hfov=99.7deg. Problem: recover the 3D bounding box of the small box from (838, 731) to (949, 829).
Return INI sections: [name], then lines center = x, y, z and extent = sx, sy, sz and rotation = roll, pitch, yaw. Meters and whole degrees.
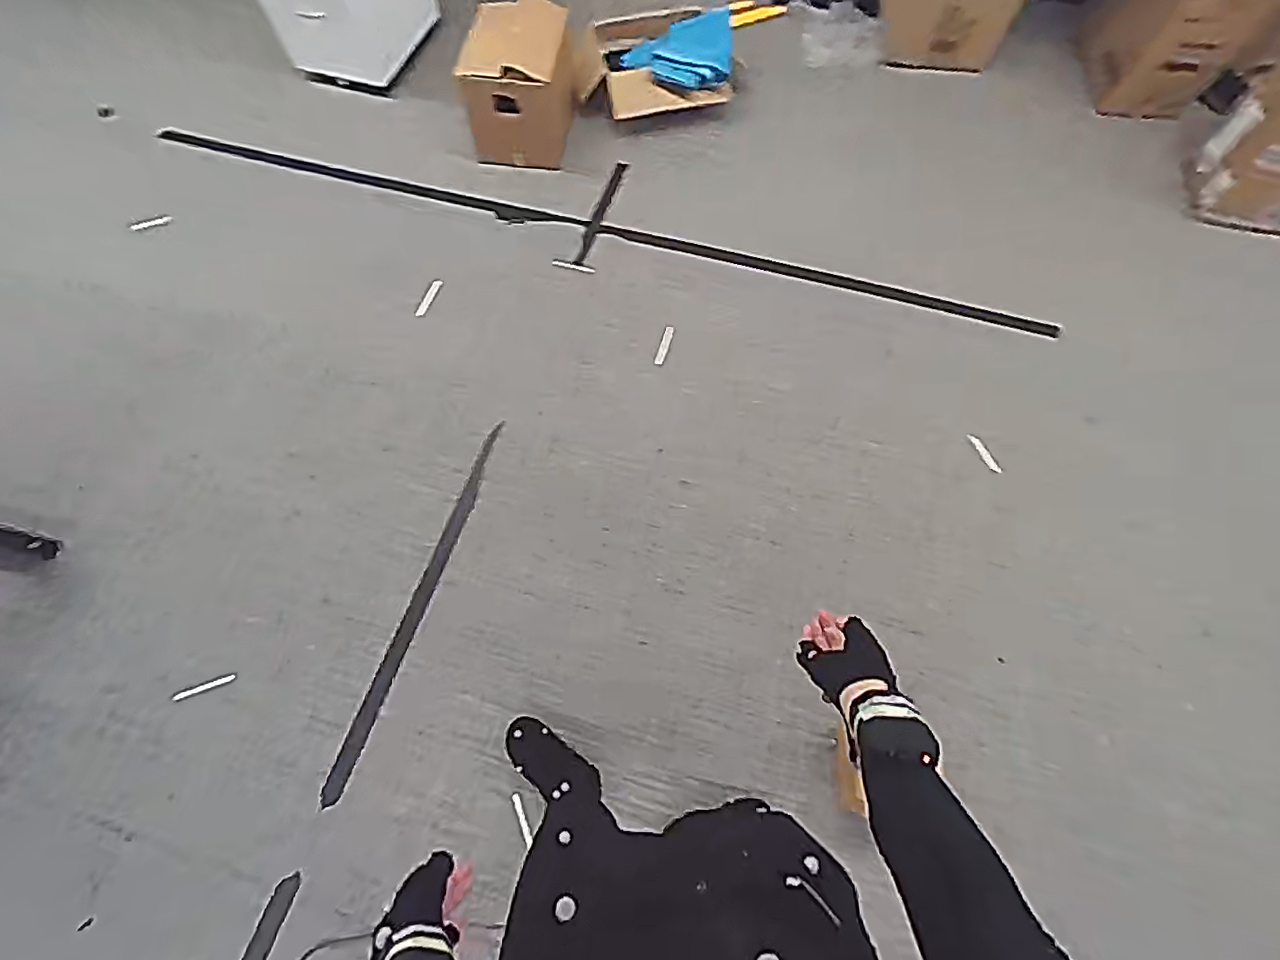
[small box]
center = 0.552, 0.660, 1.207
extent = 0.179, 0.176, 0.168
rotation = 5, 67, 1
